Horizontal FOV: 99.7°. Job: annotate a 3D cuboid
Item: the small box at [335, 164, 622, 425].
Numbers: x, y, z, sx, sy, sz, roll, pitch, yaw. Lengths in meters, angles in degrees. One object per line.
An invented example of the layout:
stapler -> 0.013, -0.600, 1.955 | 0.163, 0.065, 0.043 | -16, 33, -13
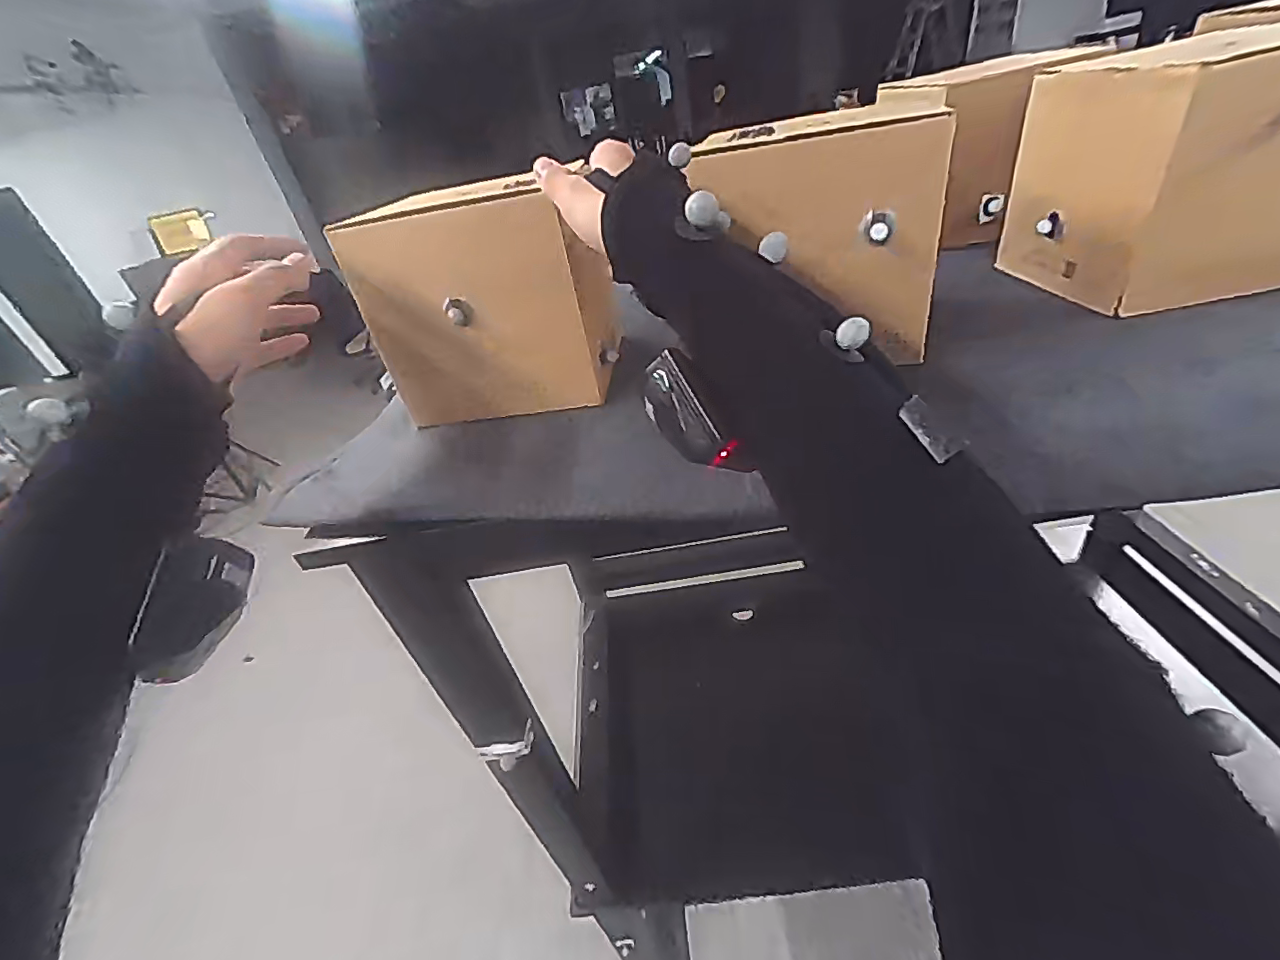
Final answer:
small box -> -0.119, -0.166, 0.489 | 0.179, 0.176, 0.168 | -6, 34, 9

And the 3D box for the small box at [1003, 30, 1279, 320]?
small box -> 0.445, -0.250, 0.445 | 0.179, 0.176, 0.168 | -10, 35, 4

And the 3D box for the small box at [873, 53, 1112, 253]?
small box -> 0.397, -0.389, 0.652 | 0.168, 0.176, 0.179 | -10, 36, 4
